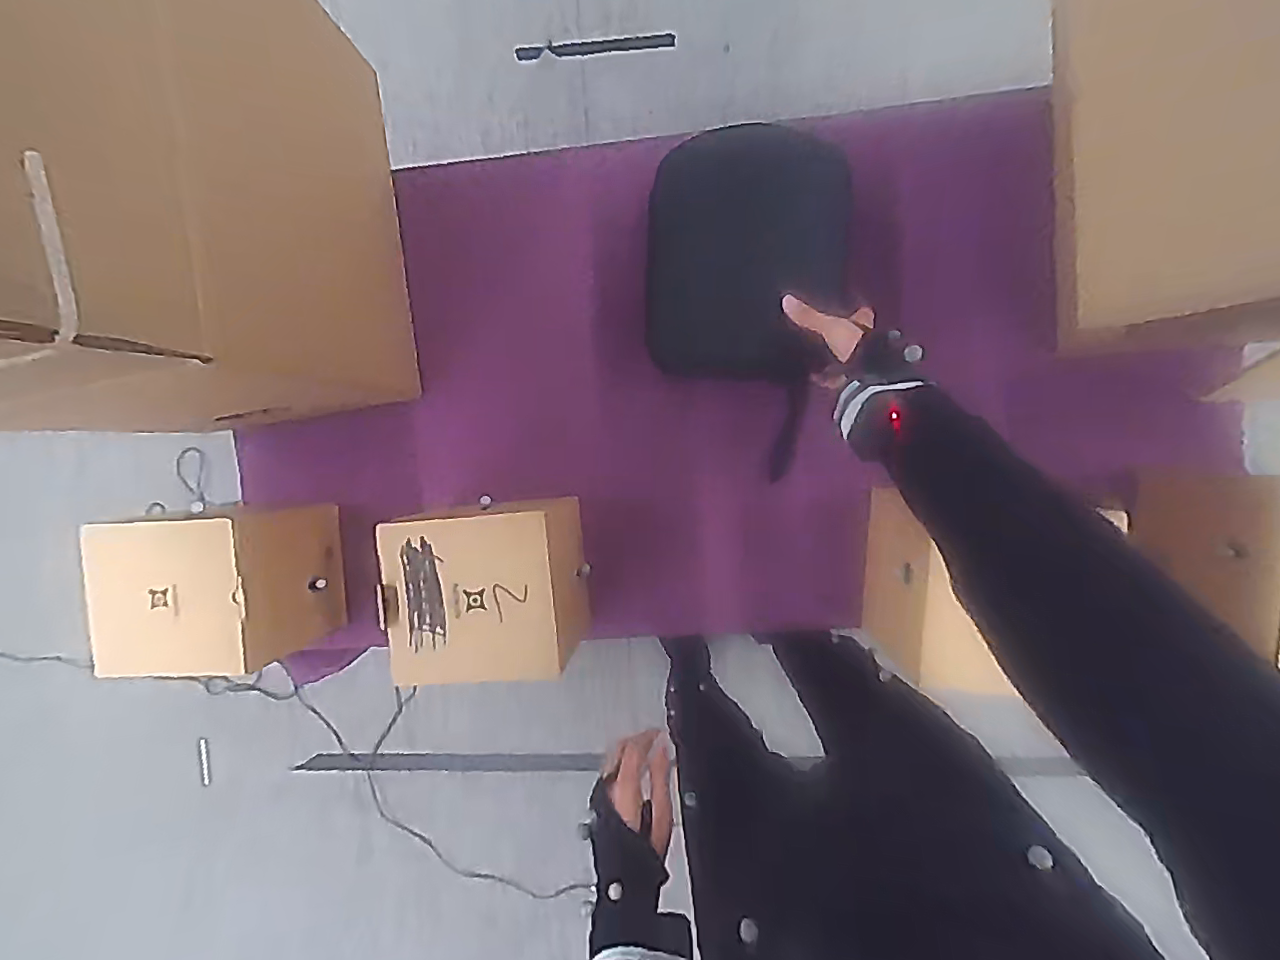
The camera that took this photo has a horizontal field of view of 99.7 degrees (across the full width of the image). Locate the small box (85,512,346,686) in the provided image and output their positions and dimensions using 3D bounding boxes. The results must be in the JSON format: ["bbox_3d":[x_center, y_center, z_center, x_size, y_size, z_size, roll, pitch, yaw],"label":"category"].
[{"bbox_3d":[-0.486,0.130,0.642,0.179,0.176,0.168,-3,93,5],"label":"small box"}]
